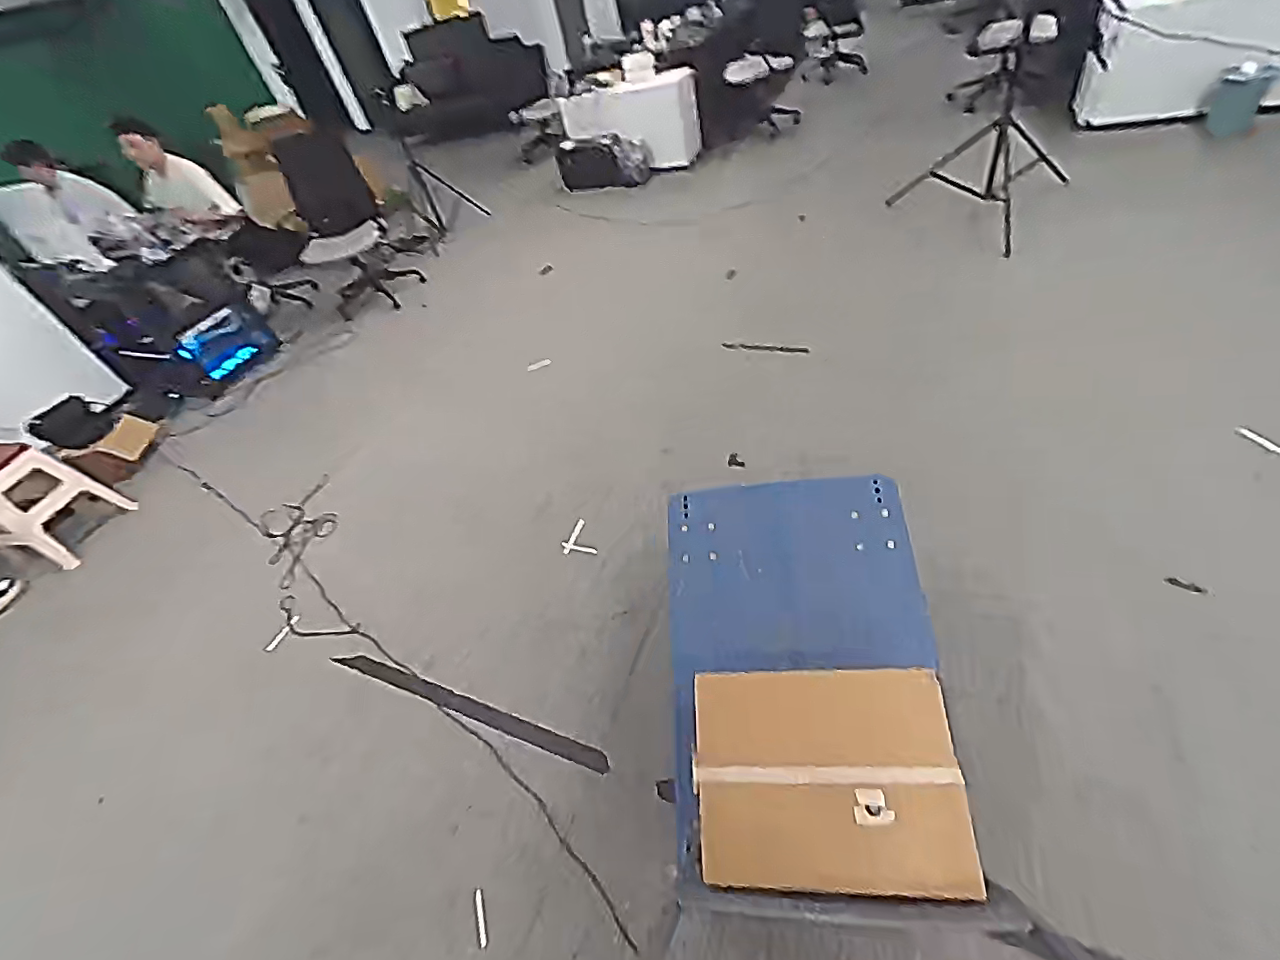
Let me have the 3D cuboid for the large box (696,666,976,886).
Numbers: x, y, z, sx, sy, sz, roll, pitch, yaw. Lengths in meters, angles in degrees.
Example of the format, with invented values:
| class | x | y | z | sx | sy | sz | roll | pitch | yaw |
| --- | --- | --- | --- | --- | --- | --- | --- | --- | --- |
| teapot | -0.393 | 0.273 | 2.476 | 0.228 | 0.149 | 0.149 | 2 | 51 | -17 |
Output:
| class | x | y | z | sx | sy | sz | roll | pitch | yaw |
| --- | --- | --- | --- | --- | --- | --- | --- | --- | --- |
| large box | 0.326 | 0.536 | 1.018 | 0.408 | 0.320 | 0.320 | -5 | 65 | 11 |
